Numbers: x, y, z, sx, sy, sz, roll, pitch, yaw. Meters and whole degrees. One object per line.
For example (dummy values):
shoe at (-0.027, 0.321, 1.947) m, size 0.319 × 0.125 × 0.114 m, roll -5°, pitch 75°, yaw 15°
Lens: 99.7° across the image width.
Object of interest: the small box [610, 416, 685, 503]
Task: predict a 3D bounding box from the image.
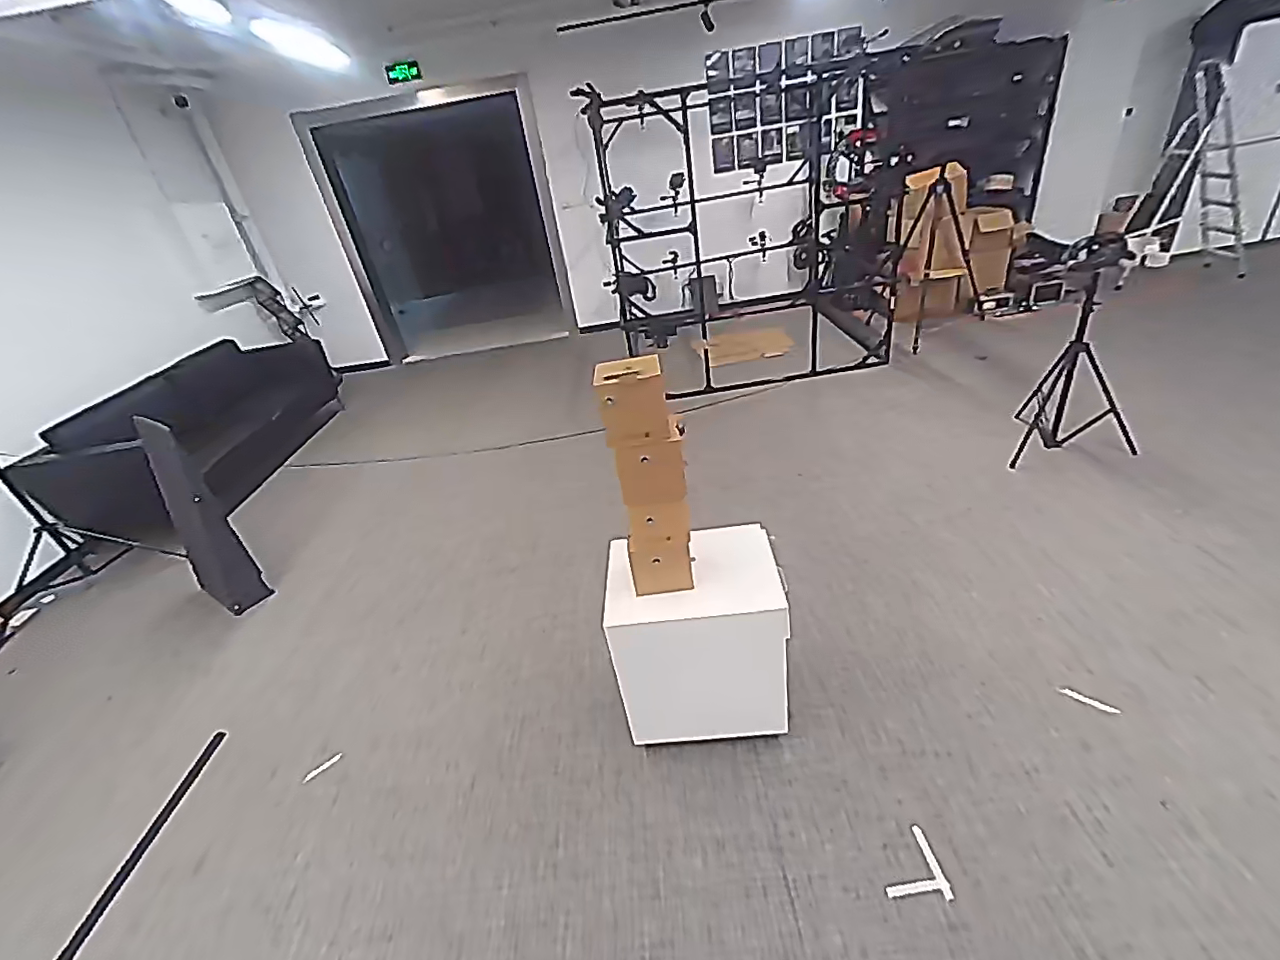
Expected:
small box at (0.022, -0.053, 1.454) m, size 0.179 × 0.176 × 0.168 m, roll -8°, pitch 31°, yaw 3°

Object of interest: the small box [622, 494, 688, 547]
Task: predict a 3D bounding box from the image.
small box at (0.044, 0.078, 1.553) m, size 0.168 × 0.176 × 0.179 m, roll -8°, pitch 30°, yaw 3°

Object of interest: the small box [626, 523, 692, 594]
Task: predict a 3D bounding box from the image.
small box at (0.056, 0.225, 1.623) m, size 0.179 × 0.176 × 0.168 m, roll -8°, pitch 31°, yaw 2°
